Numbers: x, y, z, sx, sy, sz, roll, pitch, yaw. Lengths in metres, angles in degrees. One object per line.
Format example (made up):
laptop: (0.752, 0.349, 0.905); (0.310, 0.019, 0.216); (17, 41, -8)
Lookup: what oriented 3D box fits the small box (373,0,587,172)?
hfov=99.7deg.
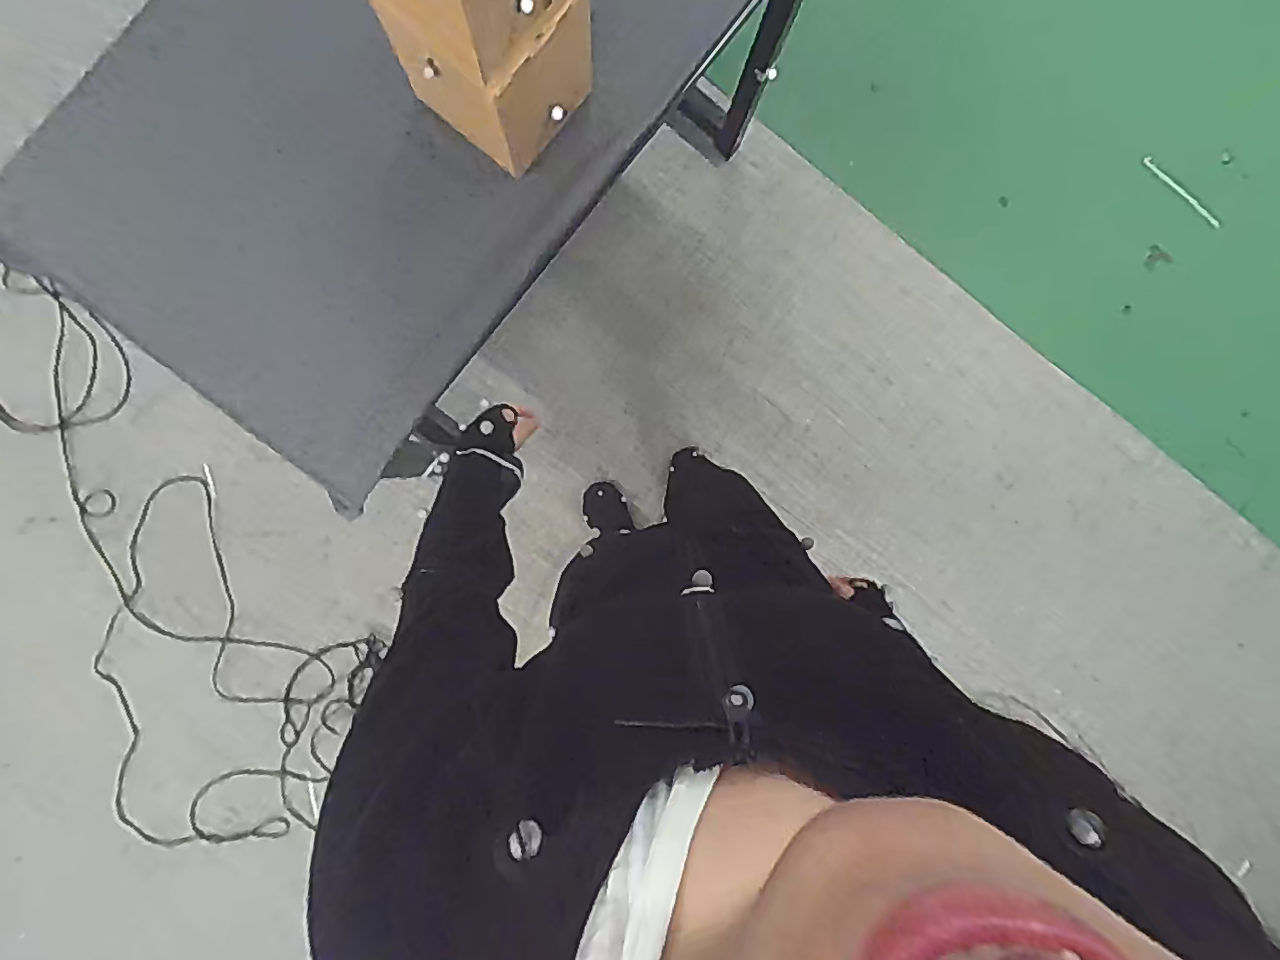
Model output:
small box: (-0.181, -0.527, 0.660); (0.179, 0.176, 0.168); (39, 88, -3)

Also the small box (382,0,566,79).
small box: (-0.175, -0.534, 0.498); (0.179, 0.176, 0.168); (39, 87, -3)
